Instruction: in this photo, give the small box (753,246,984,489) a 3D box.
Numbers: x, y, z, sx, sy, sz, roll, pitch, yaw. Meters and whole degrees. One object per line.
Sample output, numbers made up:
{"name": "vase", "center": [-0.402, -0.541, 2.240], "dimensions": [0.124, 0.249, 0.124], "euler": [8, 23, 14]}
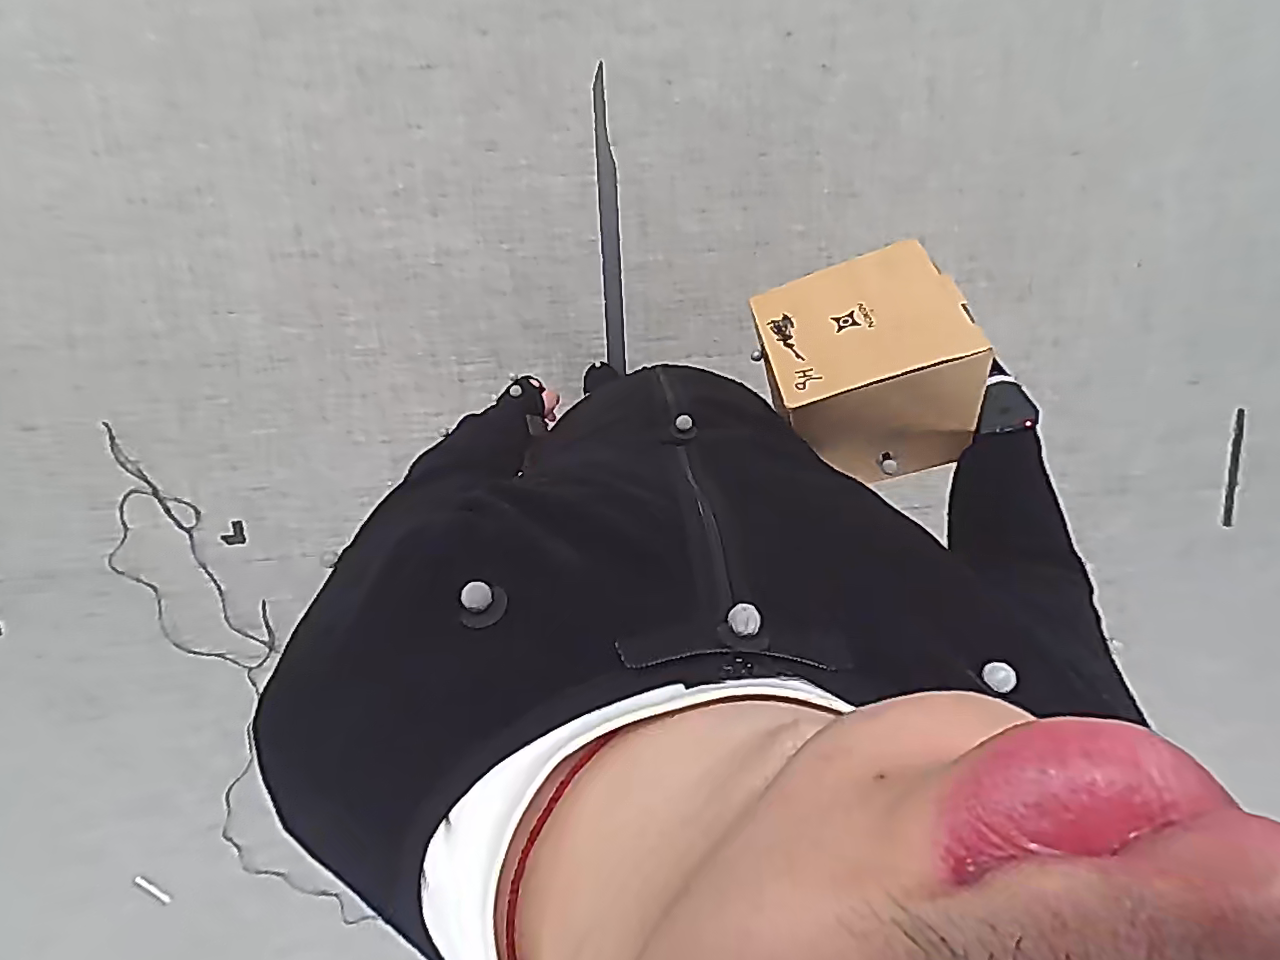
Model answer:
{"name": "small box", "center": [0.237, -0.114, 0.596], "dimensions": [0.179, 0.168, 0.176], "euler": [-16, 143, 12]}
